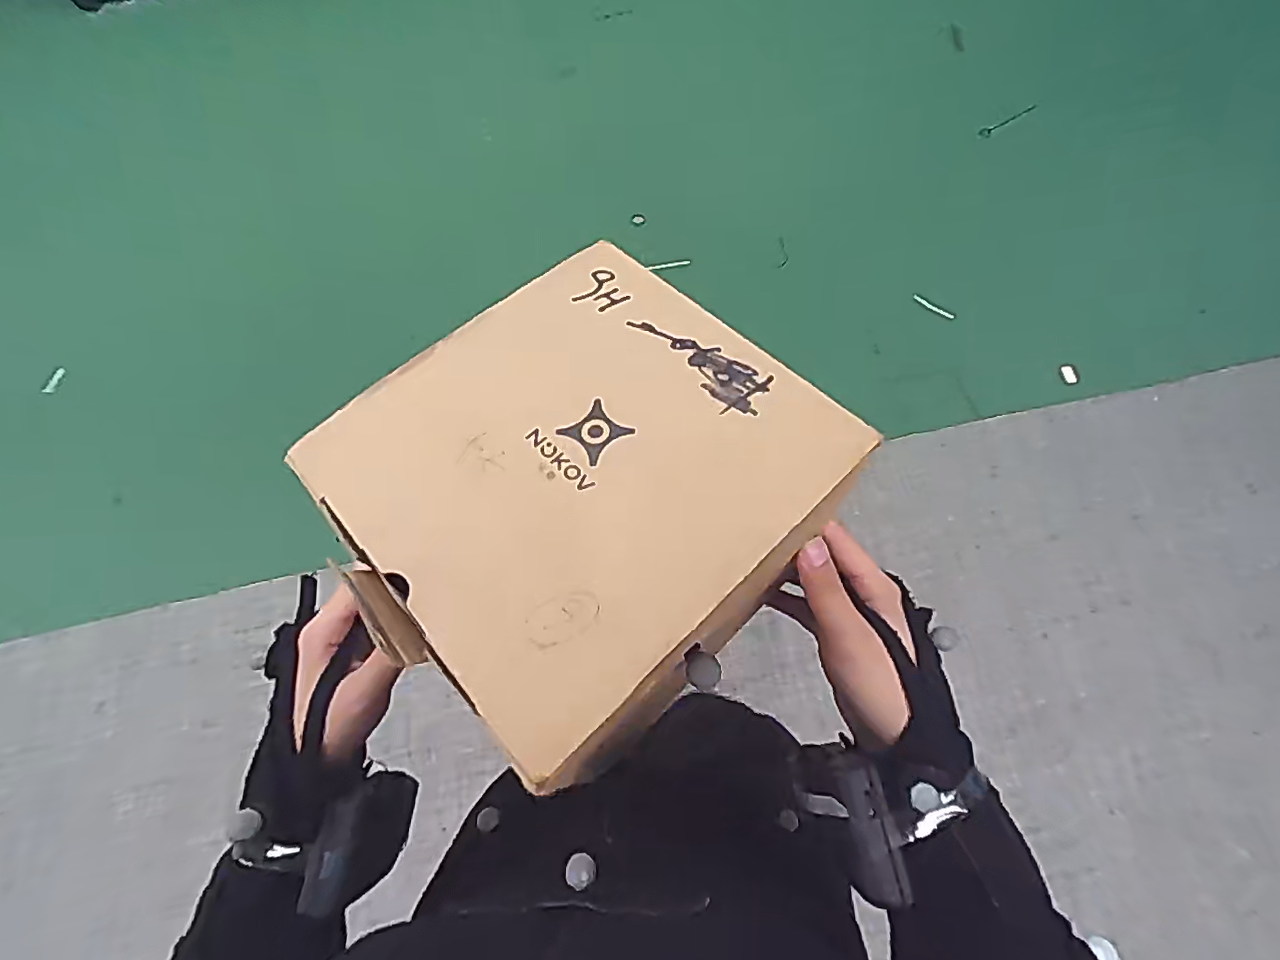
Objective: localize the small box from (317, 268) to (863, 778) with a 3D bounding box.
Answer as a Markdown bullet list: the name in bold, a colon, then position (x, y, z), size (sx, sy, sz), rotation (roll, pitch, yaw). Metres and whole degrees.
- **small box**: position (-0.019, 0.031, 0.296), size (0.179, 0.176, 0.168), rotation (-41, 68, -17)
